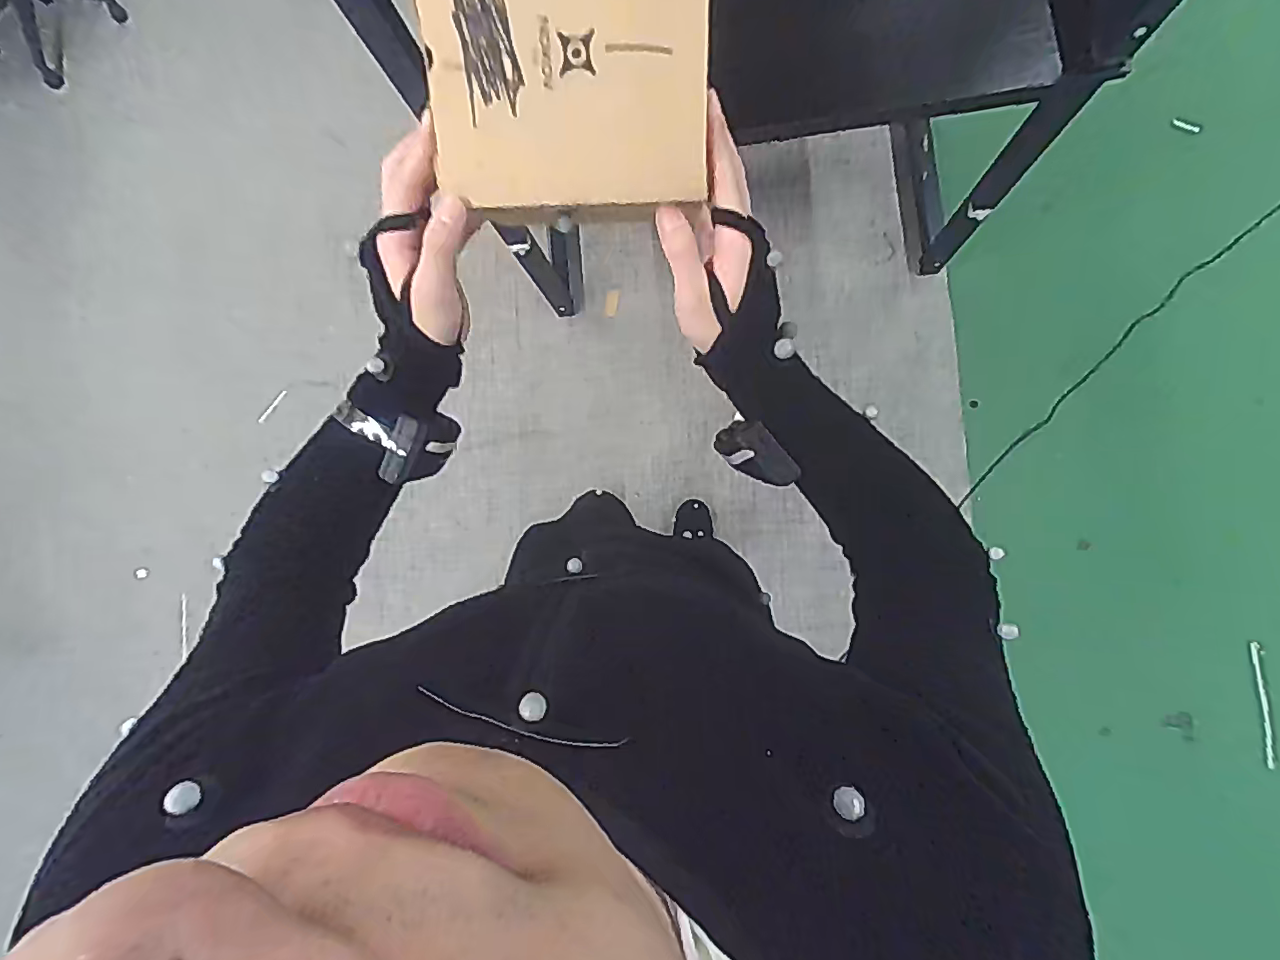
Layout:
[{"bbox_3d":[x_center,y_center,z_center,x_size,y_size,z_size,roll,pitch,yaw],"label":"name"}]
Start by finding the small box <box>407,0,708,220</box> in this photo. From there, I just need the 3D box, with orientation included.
[{"bbox_3d":[-0.044,-0.286,0.390,0.179,0.176,0.168,-1,112,2],"label":"small box"}]
